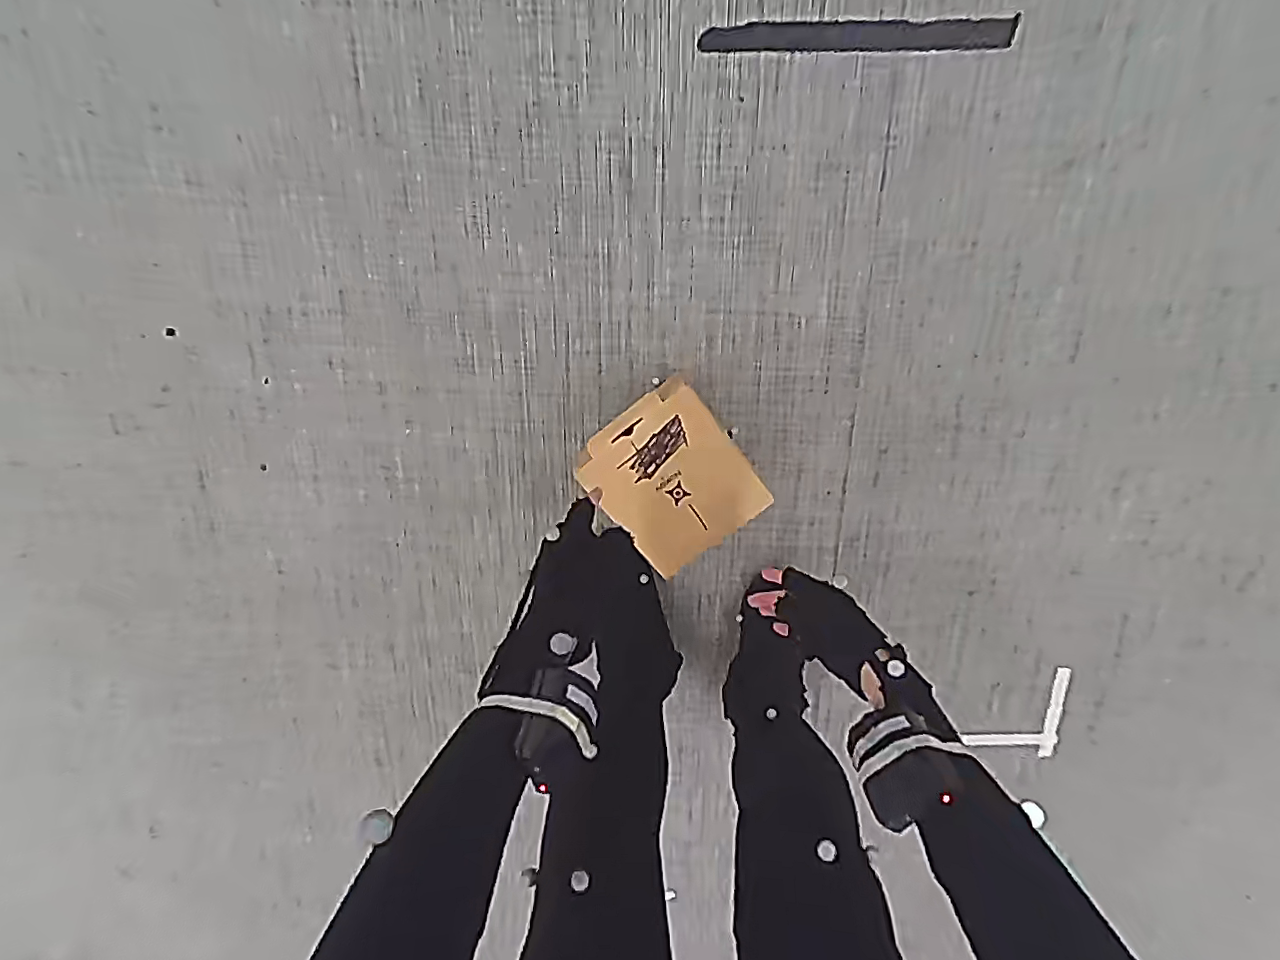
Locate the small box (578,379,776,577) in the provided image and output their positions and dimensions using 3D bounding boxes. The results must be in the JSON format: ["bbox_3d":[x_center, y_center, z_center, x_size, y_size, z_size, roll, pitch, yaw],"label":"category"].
[{"bbox_3d":[0.043,-0.016,0.696,0.168,0.176,0.179,-37,103,11],"label":"small box"}]
